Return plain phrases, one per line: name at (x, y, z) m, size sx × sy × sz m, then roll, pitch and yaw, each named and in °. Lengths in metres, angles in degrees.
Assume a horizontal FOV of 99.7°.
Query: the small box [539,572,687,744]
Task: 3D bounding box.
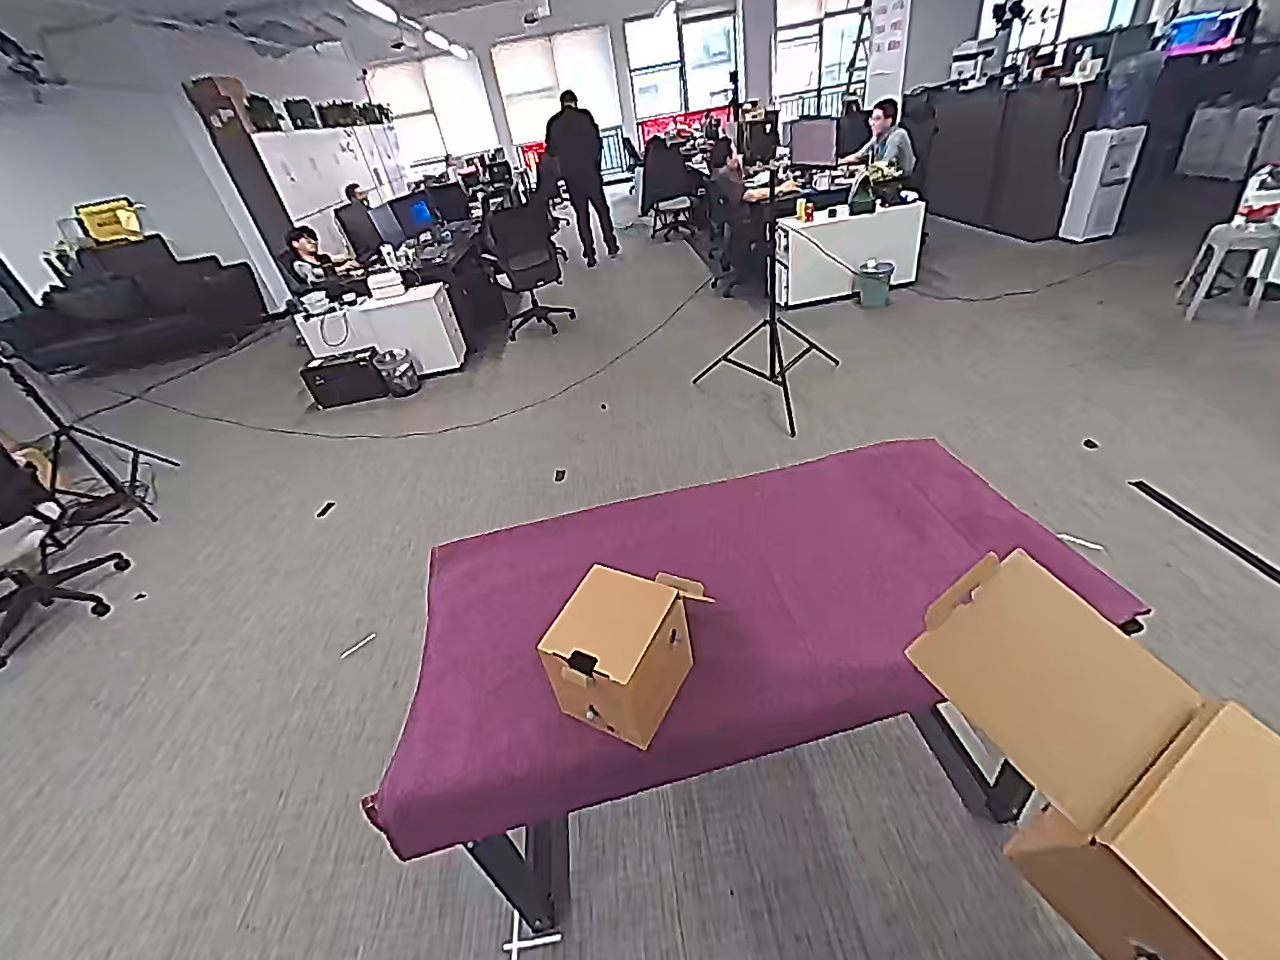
small box at (-0.033, 0.285, 0.883) m, size 0.168 × 0.176 × 0.179 m, roll 10°, pitch 39°, yaw 30°
